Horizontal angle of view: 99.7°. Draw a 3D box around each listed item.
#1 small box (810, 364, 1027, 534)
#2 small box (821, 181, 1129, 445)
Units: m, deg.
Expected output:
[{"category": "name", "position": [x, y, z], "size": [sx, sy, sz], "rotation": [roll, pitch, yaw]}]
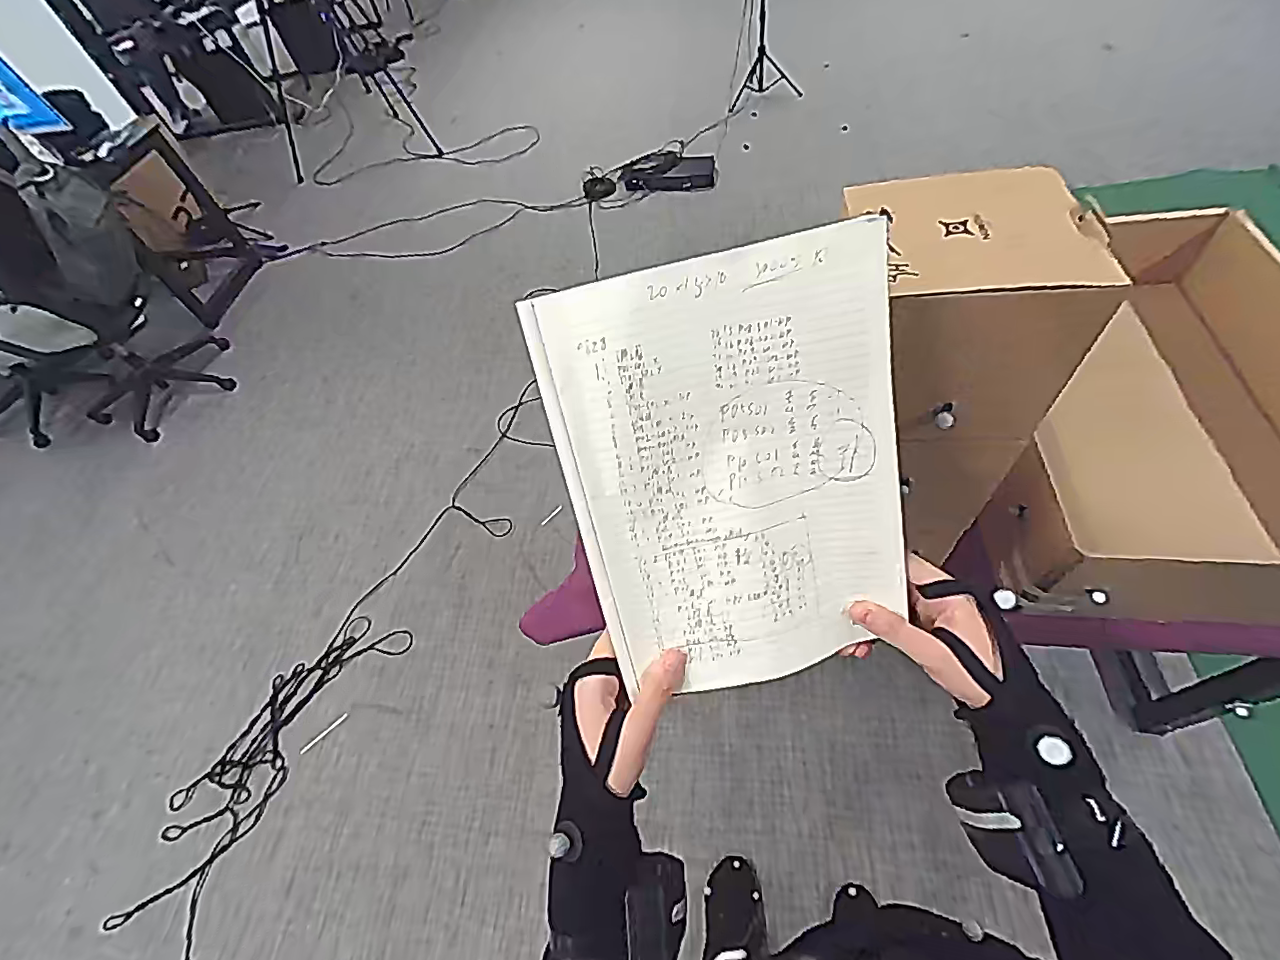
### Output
[{"category": "small box", "position": [0.299, -0.048, 0.627], "size": [0.179, 0.176, 0.168], "rotation": [0, 53, 12]}, {"category": "small box", "position": [0.274, -0.145, 0.496], "size": [0.179, 0.176, 0.168], "rotation": [1, 53, 10]}]
